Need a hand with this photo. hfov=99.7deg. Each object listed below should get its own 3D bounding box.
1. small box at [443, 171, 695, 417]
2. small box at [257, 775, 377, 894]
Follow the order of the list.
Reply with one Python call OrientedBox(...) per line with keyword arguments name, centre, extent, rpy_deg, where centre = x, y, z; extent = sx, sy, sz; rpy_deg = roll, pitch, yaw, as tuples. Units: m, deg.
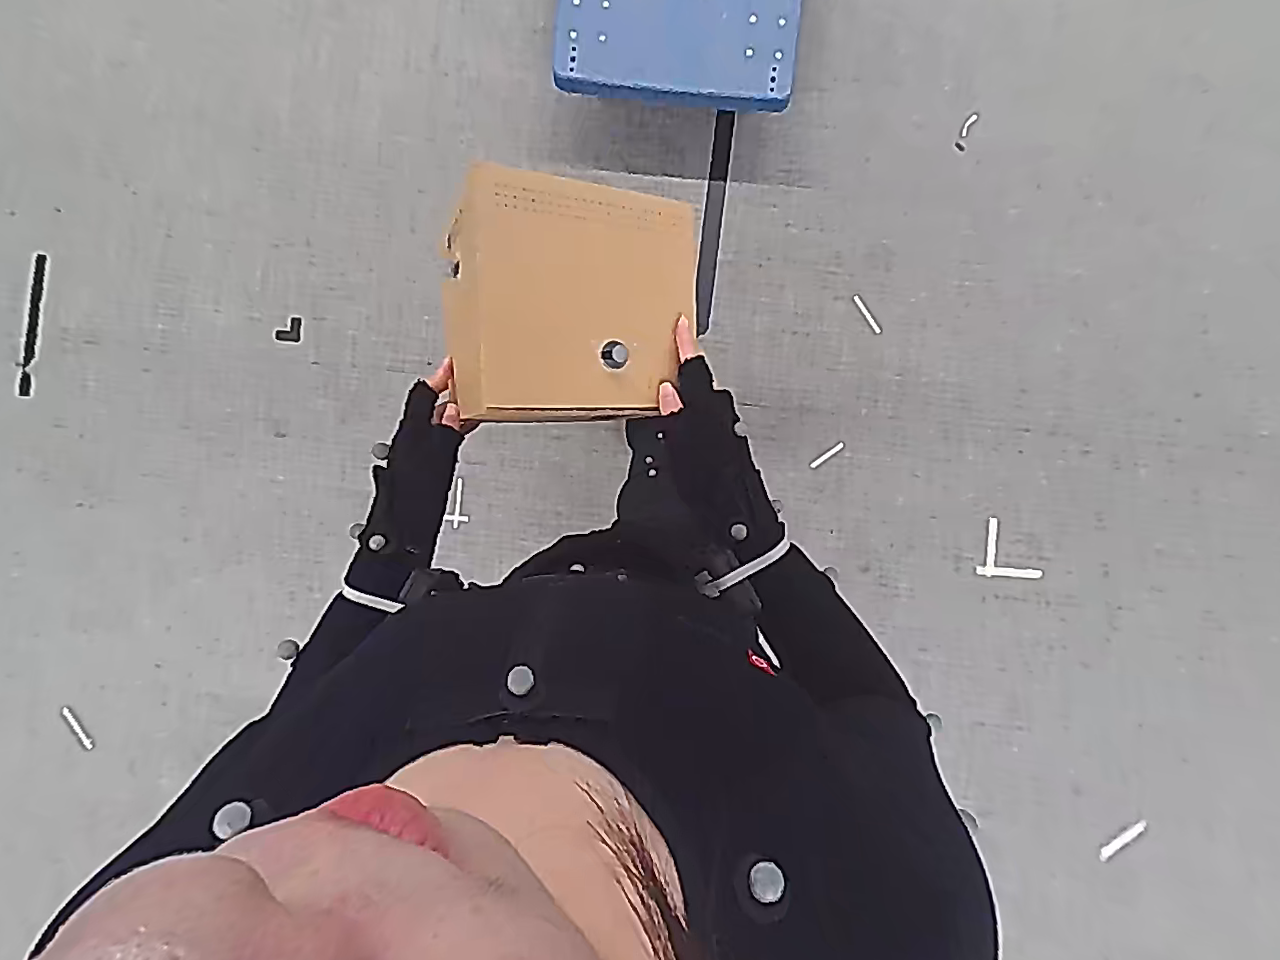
OrientedBox(name="small box", centre=(-0.067, -0.144, 0.476), extent=(0.179, 0.168, 0.176), rpy_deg=(-4, 95, -27))
OrientedBox(name="small box", centre=(-0.754, 0.823, 1.273), extent=(0.179, 0.176, 0.168), rpy_deg=(4, 92, 2))
